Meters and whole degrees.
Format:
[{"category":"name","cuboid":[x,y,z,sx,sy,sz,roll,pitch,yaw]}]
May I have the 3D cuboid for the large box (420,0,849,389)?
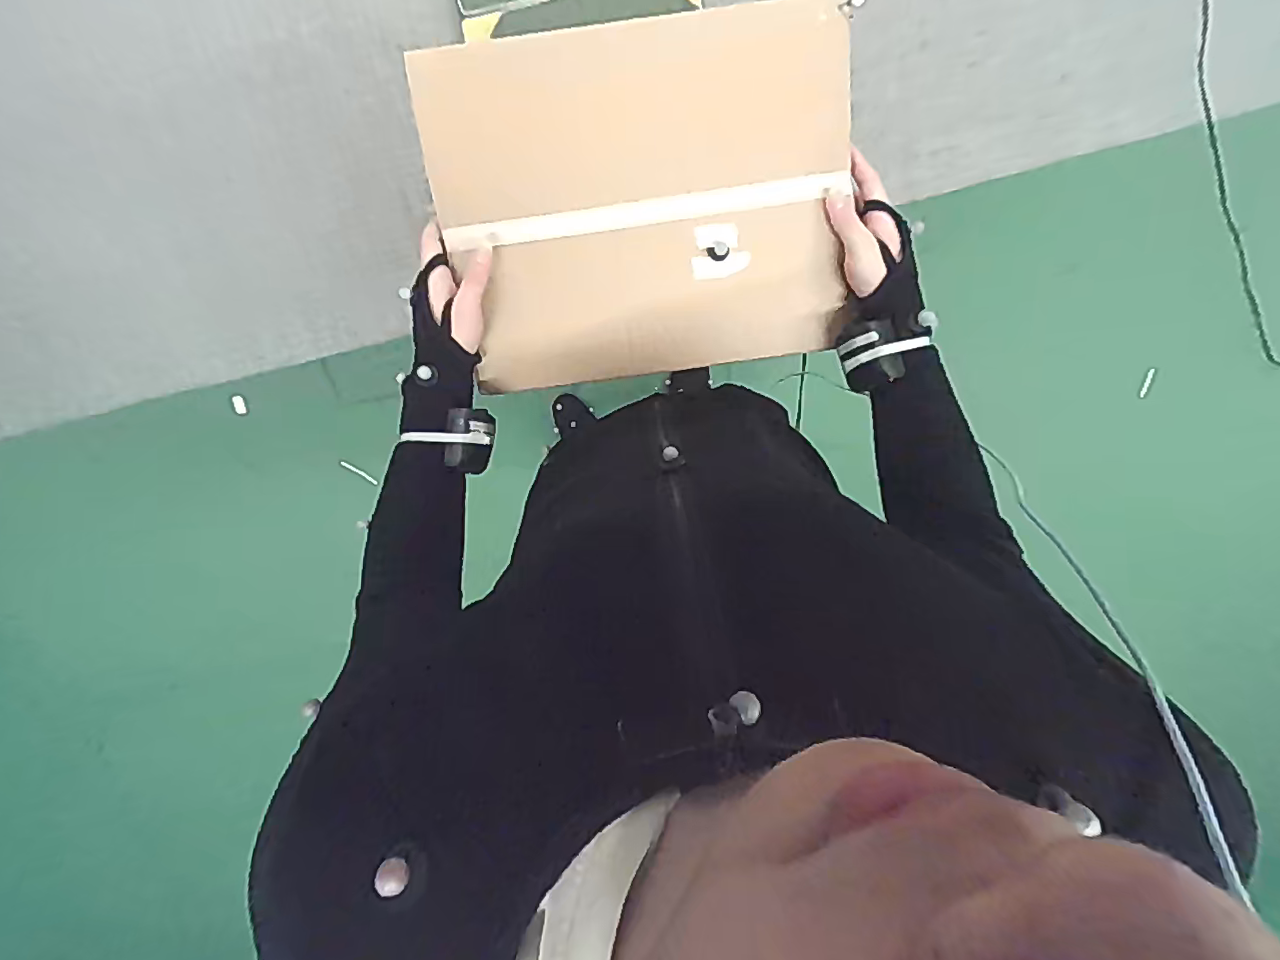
[{"category":"large box","cuboid":[0.002,-0.313,0.685,0.408,0.320,0.320,-8,108,0]}]
